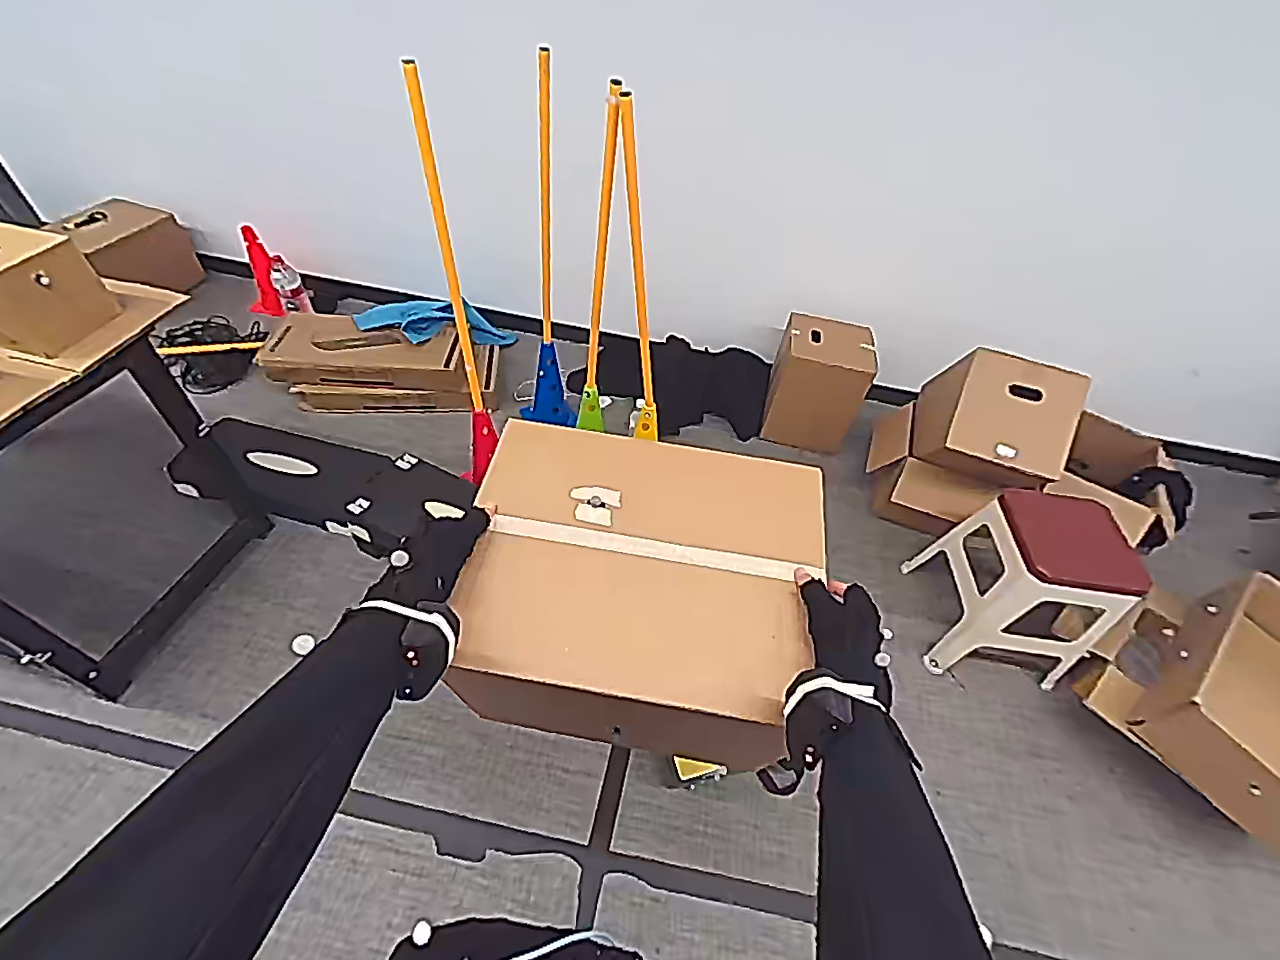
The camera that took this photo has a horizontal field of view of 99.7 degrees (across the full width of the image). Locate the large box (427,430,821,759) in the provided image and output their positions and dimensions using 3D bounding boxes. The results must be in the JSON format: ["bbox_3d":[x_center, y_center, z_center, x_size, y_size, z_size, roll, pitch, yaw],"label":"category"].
[{"bbox_3d":[-0.003,0.169,0.739,0.408,0.320,0.320,9,55,3],"label":"large box"}]
